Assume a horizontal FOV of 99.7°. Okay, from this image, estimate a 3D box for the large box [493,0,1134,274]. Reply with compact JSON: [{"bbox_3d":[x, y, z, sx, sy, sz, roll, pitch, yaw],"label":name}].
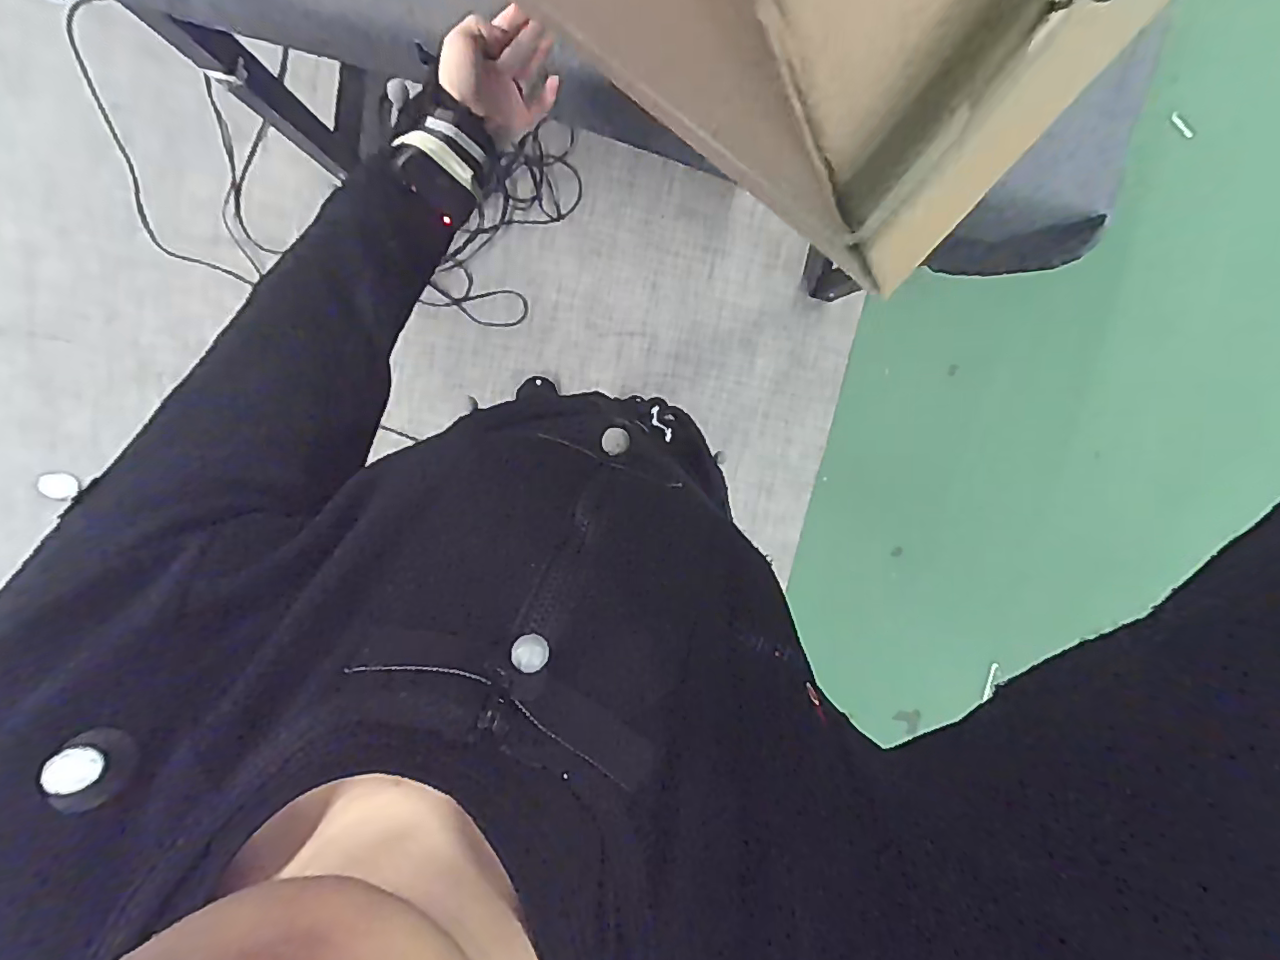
[{"bbox_3d":[0.049,-0.349,0.220,0.408,0.320,0.320,45,115,15],"label":"large box"}]
